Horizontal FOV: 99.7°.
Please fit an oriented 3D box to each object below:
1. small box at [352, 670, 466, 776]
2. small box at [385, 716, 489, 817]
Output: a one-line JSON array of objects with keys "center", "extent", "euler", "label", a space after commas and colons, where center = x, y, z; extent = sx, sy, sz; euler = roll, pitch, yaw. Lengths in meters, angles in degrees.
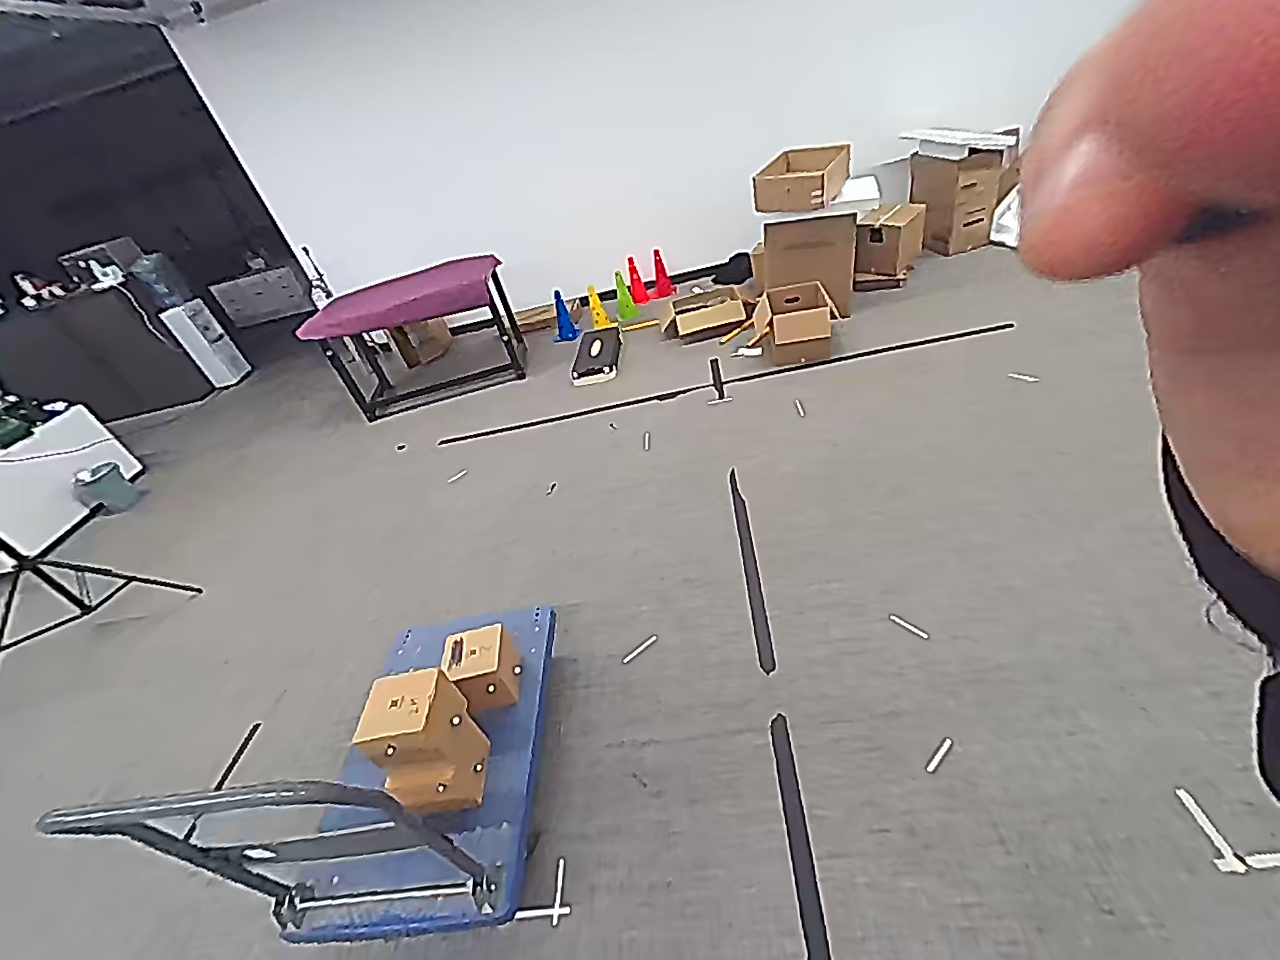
[{"center": [-0.552, 0.595, 1.317], "extent": [0.179, 0.176, 0.168], "euler": [-12, 36, 5], "label": "small box"}, {"center": [-0.514, 0.739, 1.392], "extent": [0.179, 0.176, 0.168], "euler": [-13, 36, 4], "label": "small box"}]
